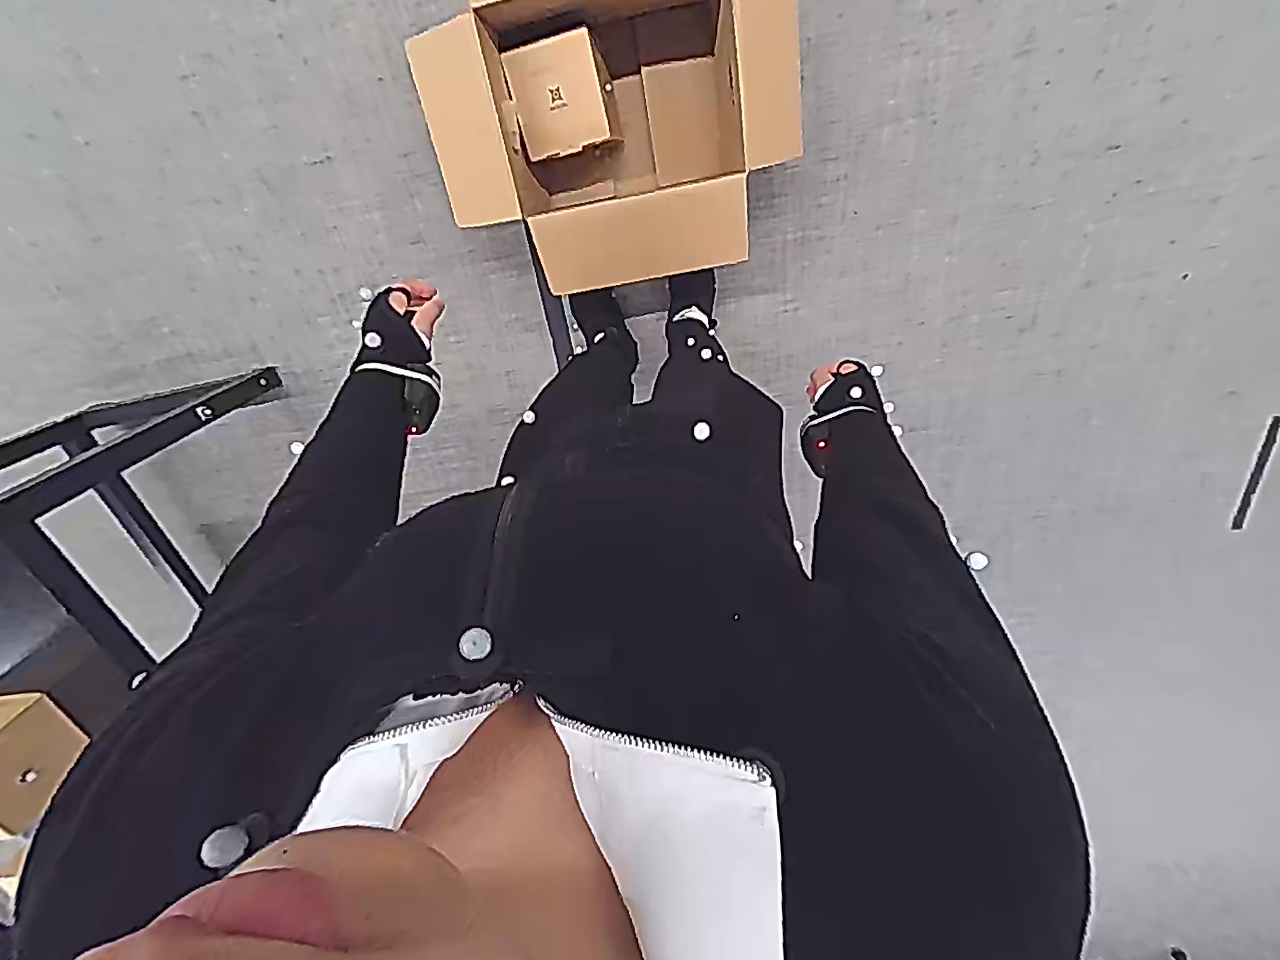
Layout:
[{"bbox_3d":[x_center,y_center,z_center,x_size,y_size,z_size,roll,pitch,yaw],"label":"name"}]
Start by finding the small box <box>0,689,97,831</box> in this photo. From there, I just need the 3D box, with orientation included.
[{"bbox_3d":[-1.175,0.509,0.986,0.168,0.176,0.179,-7,120,6],"label":"small box"}]

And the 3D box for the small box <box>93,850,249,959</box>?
[{"bbox_3d":[-1.068,0.991,1.250,0.179,0.176,0.168,-10,118,7],"label":"small box"}]
